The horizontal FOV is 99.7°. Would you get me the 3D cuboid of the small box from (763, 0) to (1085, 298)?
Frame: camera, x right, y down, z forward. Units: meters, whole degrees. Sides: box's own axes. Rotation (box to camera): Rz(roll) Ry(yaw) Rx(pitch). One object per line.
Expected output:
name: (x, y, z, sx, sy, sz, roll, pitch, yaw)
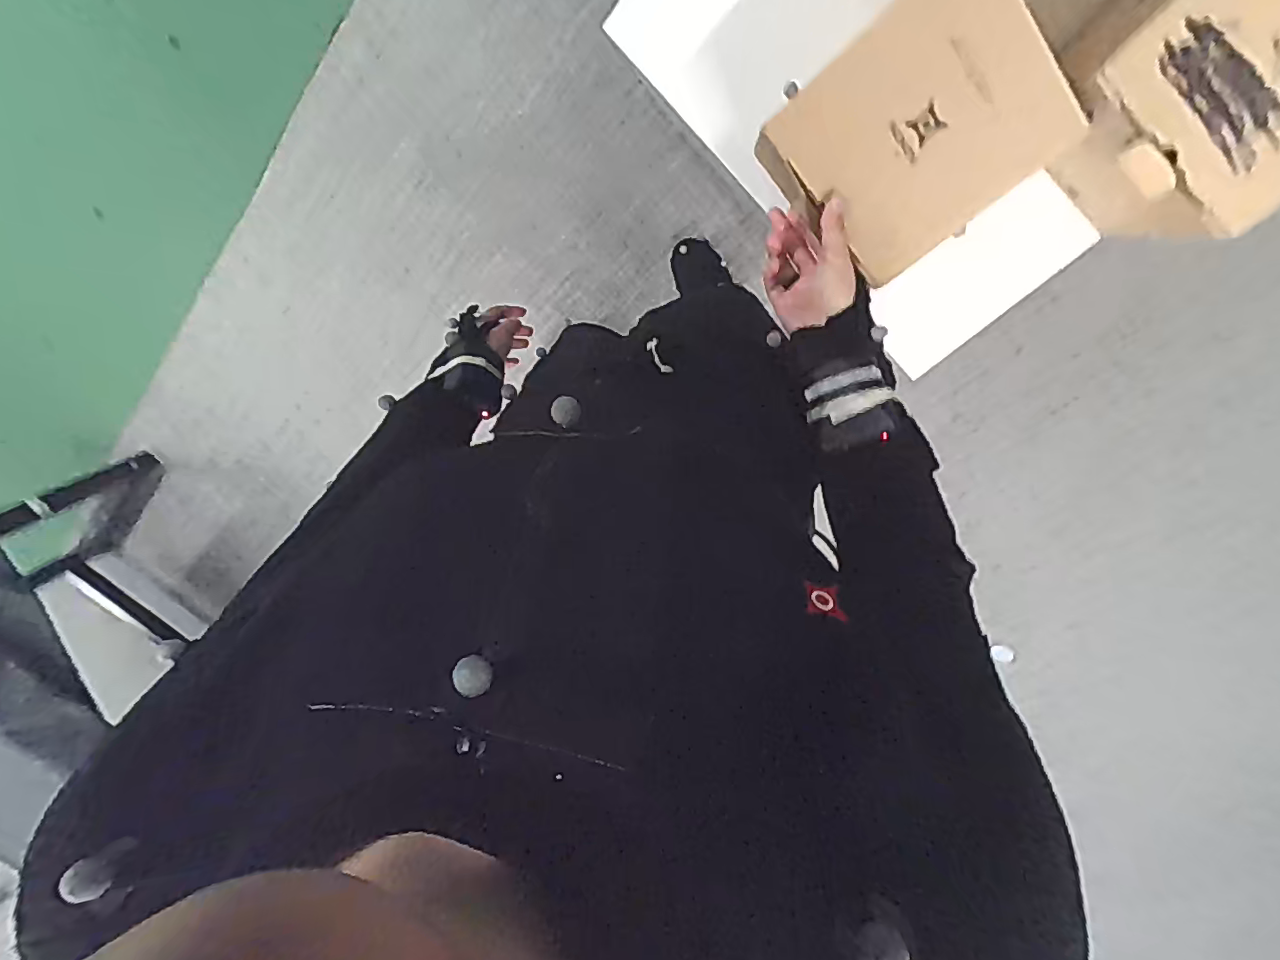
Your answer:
small box: (0.227, -0.292, 0.485, 0.179, 0.176, 0.168, -36, 105, 22)
